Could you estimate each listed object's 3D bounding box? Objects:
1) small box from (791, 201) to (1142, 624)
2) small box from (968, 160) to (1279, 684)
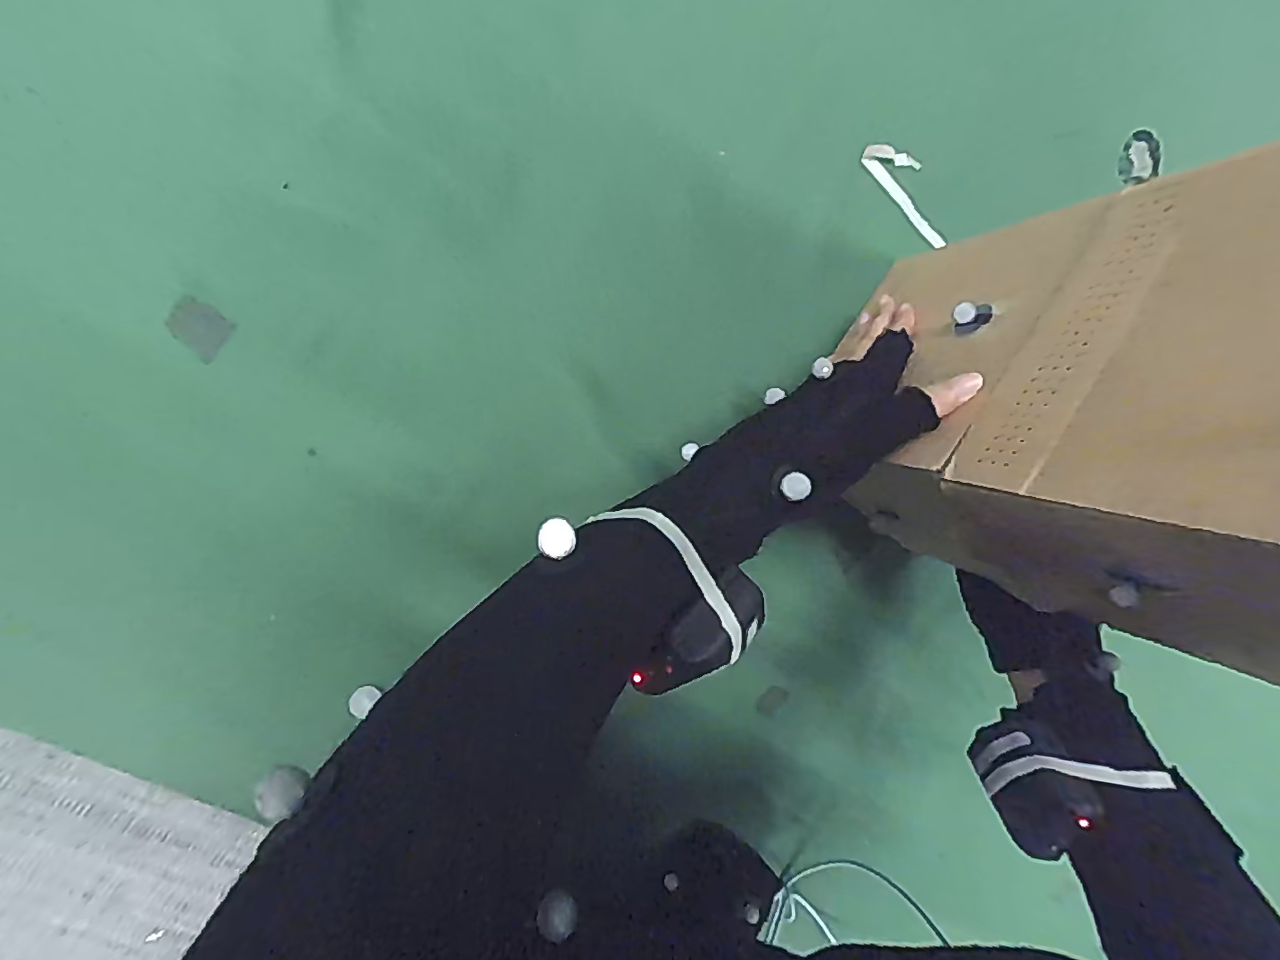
[{"bbox_3d":[0.239,-0.042,0.371,0.168,0.176,0.179,35,90,-18],"label":"small box"},{"bbox_3d":[0.282,-0.017,0.215,0.168,0.176,0.179,33,90,-19],"label":"small box"}]
